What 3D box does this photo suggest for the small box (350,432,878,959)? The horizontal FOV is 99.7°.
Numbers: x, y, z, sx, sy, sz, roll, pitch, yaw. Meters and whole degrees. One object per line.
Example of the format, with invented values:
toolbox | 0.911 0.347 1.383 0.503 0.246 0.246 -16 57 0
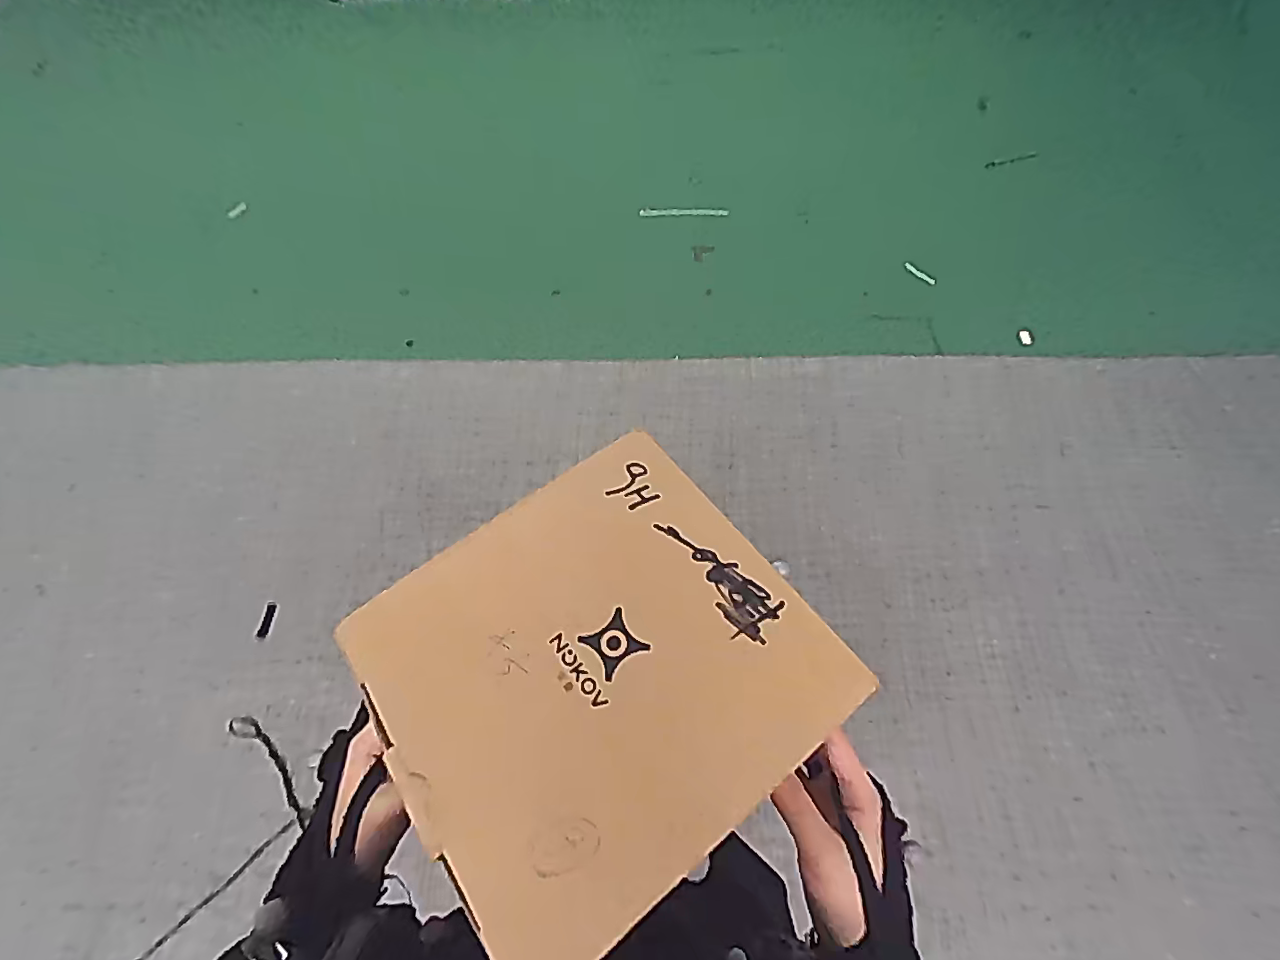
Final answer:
small box | -0.012 0.114 0.301 0.179 0.176 0.168 -34 65 -15
